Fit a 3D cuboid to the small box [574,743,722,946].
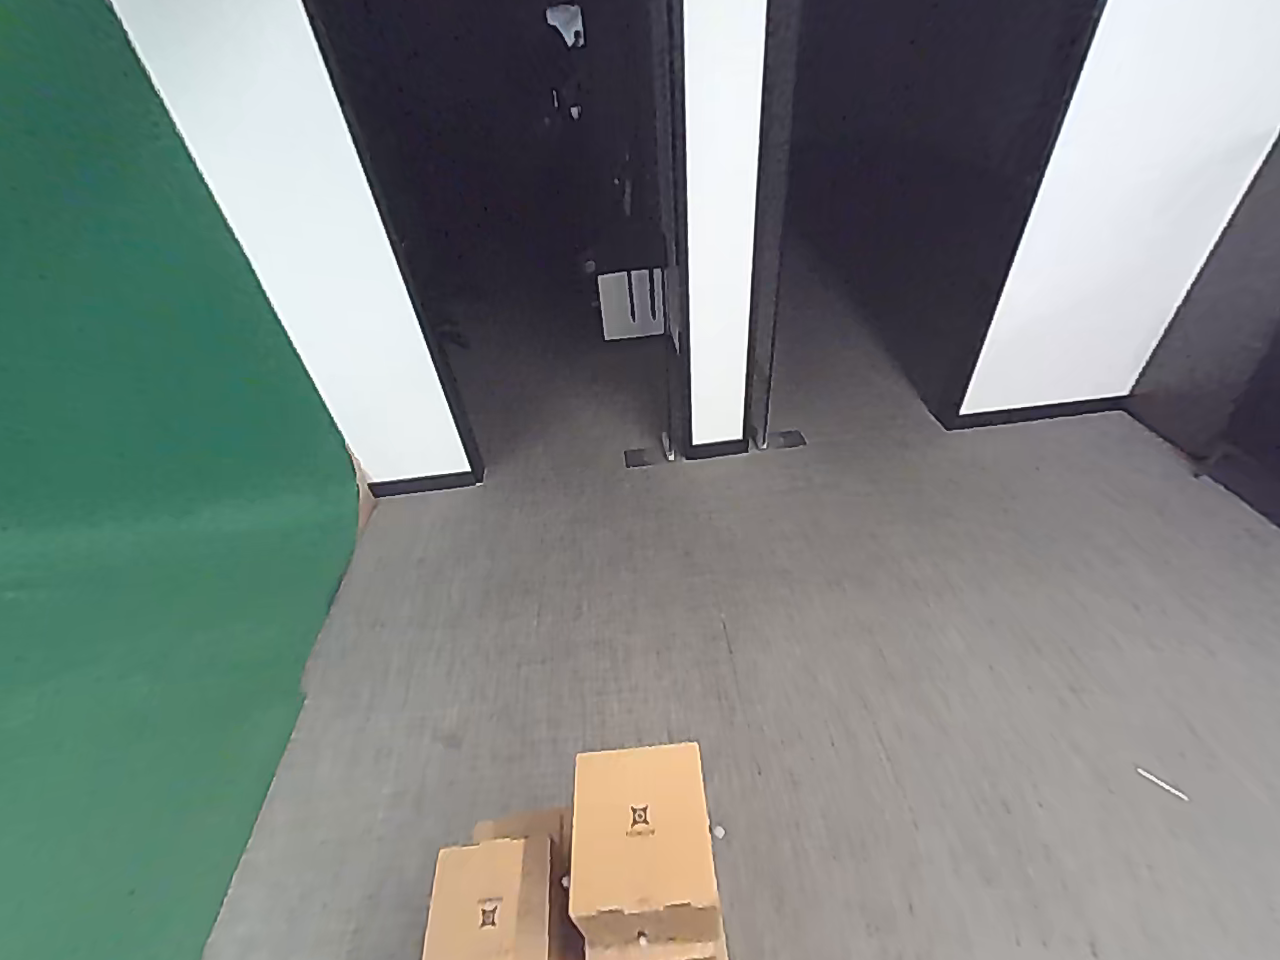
[{"bbox_3d":[0.012,0.475,0.708,0.168,0.176,0.179,-6,39,2],"label":"small box"}]
